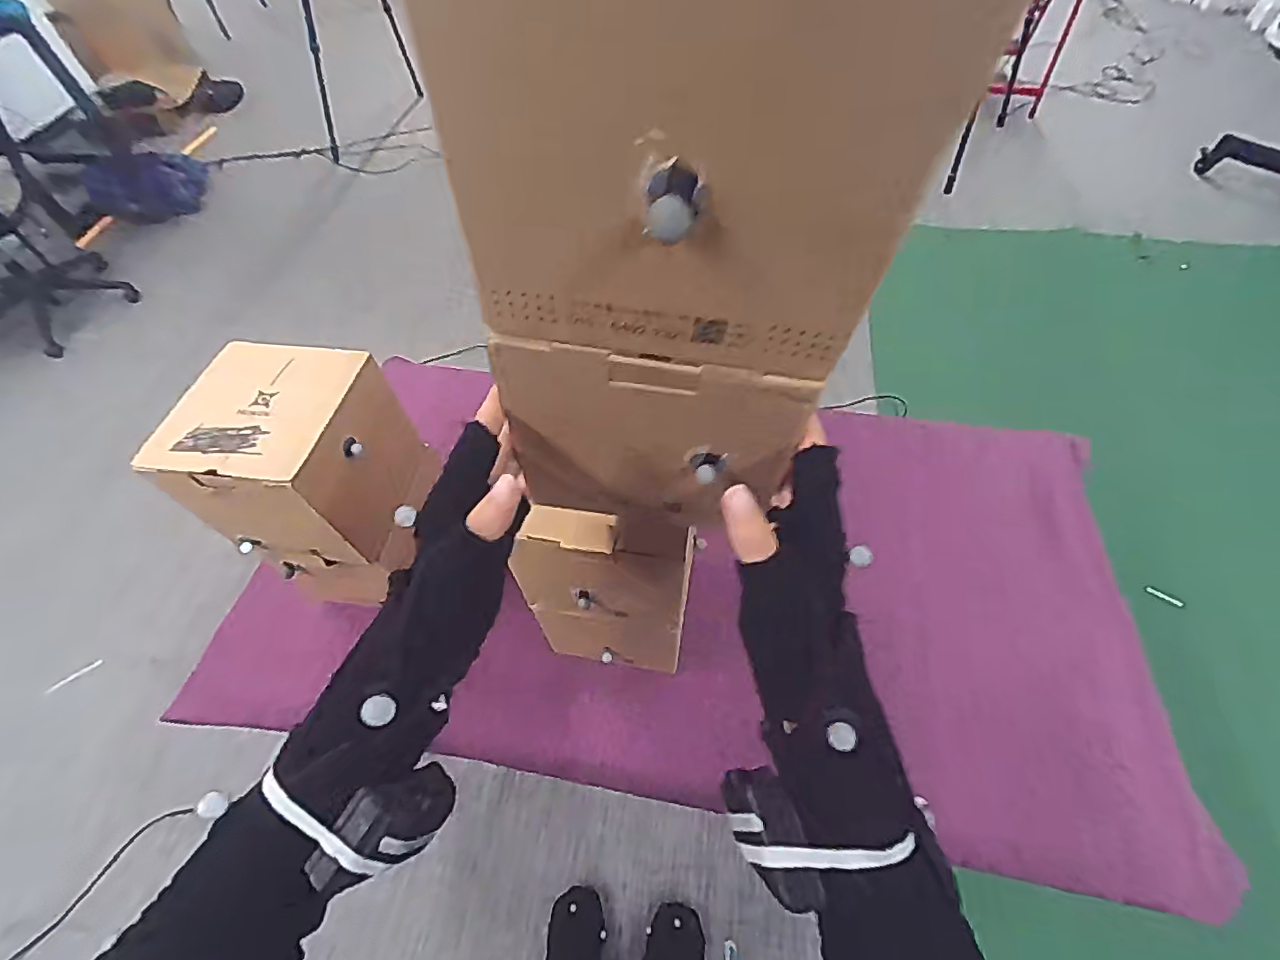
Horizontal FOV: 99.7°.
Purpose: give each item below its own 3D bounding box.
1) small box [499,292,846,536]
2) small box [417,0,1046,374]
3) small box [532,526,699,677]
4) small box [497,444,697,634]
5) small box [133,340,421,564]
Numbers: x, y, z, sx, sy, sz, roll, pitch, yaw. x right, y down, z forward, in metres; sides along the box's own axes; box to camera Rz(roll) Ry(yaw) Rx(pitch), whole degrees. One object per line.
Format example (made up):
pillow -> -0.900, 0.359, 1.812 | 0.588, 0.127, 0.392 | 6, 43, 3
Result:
small box -> 0.025, -0.080, 0.357 | 0.168, 0.176, 0.179 | 9, 59, 3
small box -> 0.032, -0.166, 0.218 | 0.168, 0.176, 0.179 | 9, 61, 2
small box -> -0.020, 0.128, 0.684 | 0.168, 0.176, 0.179 | 8, 57, 8
small box -> -0.025, 0.036, 0.550 | 0.168, 0.176, 0.179 | 8, 57, 7
small box -> -0.371, -0.025, 0.598 | 0.168, 0.176, 0.179 | 9, 57, 6
